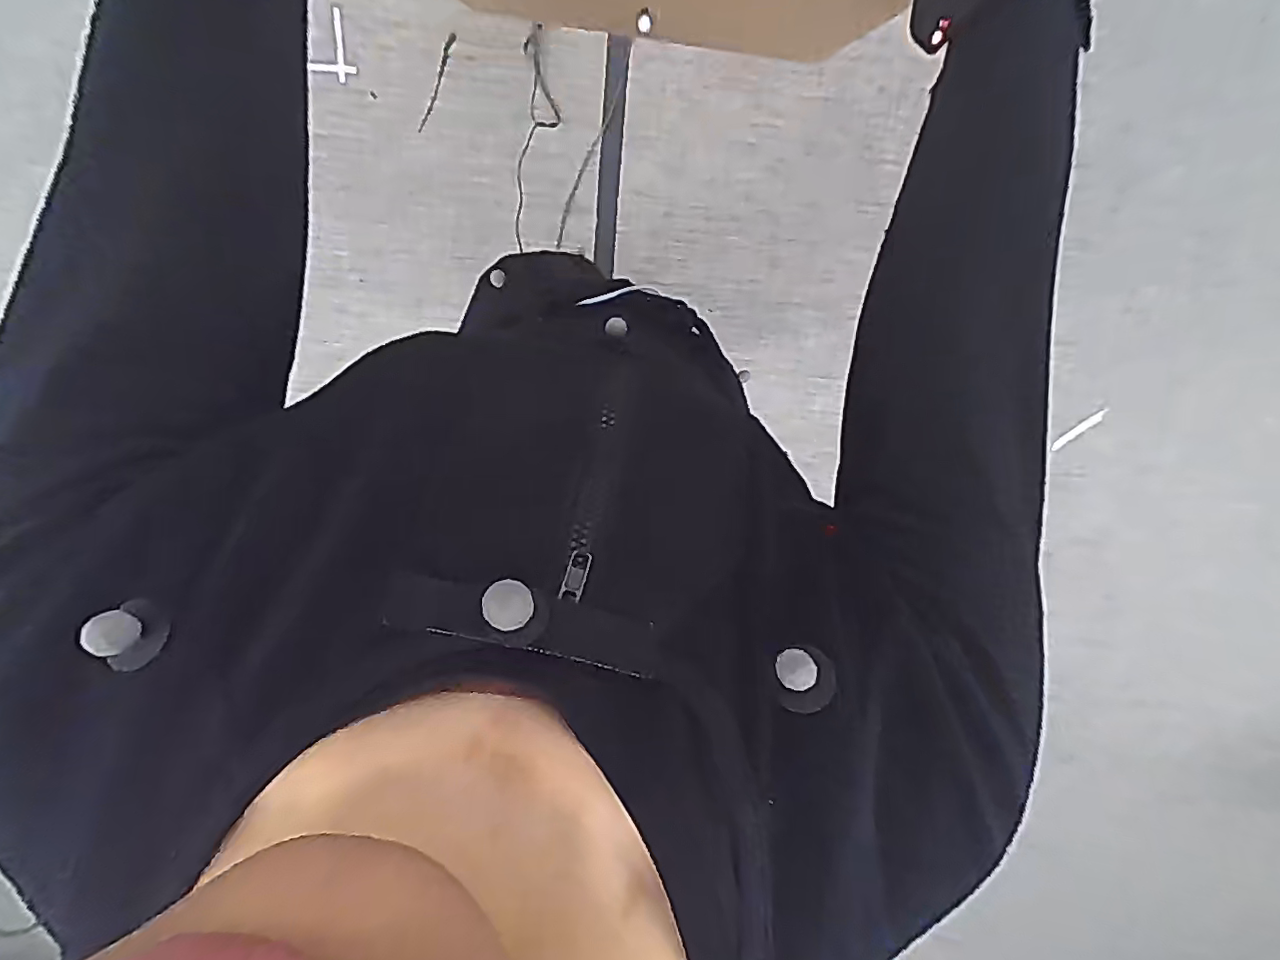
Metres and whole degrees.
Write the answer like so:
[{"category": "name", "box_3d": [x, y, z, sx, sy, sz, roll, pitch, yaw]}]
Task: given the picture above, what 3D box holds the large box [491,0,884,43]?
[{"category": "large box", "box_3d": [0.027, -0.570, 0.409, 0.408, 0.320, 0.320, 7, 119, -2]}]
